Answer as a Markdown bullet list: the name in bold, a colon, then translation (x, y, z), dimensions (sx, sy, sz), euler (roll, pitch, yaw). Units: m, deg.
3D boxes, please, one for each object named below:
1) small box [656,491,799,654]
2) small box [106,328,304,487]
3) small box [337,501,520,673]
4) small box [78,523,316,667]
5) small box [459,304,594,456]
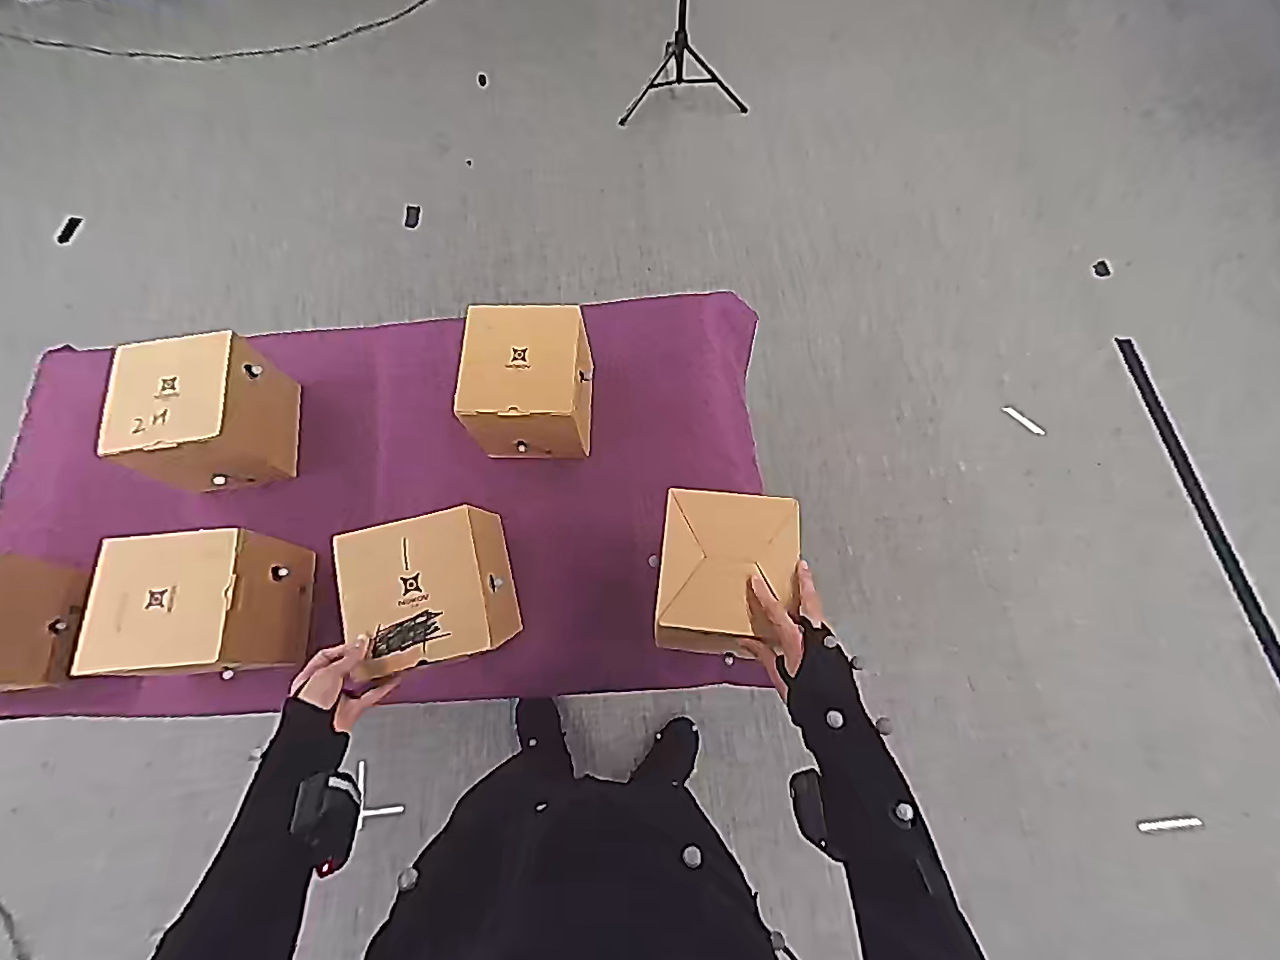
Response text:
- **small box**: translation (0.111, 0.123, 0.718), dimensions (0.168, 0.176, 0.179), euler (5, 63, 6)
- **small box**: translation (-0.650, -0.105, 0.835), dimensions (0.168, 0.176, 0.179), euler (-8, 71, -2)
- **small box**: translation (-0.268, 0.136, 0.720), dimensions (0.168, 0.176, 0.179), euler (-13, 81, -3)
- **small box**: translation (-0.577, 0.162, 0.735), dimensions (0.179, 0.176, 0.168), euler (-5, 70, -1)
- **small box**: translation (-0.164, -0.150, 0.840), dimensions (0.168, 0.176, 0.179), euler (0, 72, 2)
